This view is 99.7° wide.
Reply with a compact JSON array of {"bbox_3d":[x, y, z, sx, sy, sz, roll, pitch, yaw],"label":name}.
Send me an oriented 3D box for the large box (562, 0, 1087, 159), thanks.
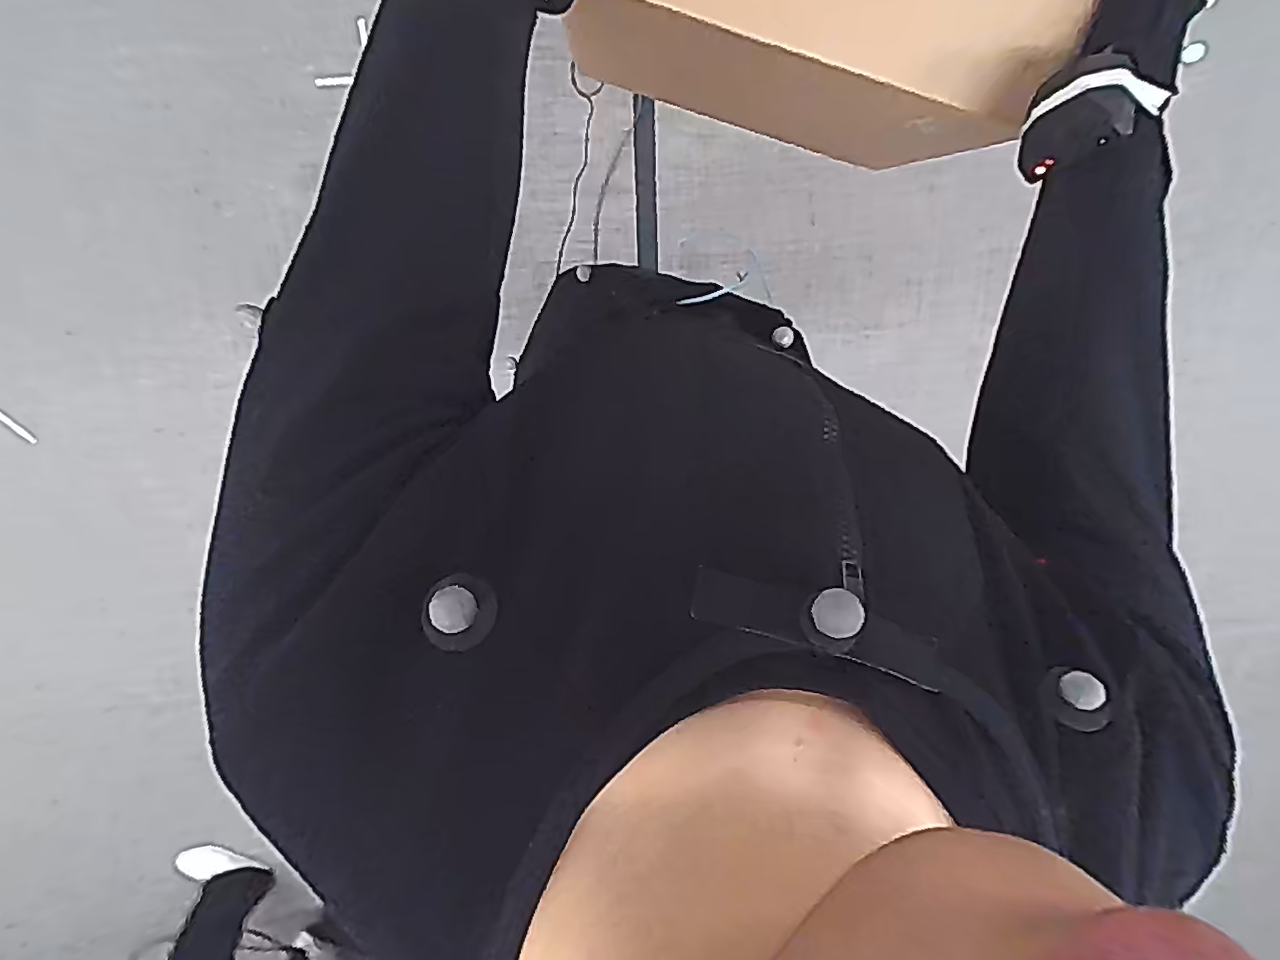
[{"bbox_3d":[0.155,-0.527,0.487,0.408,0.320,0.320,12,115,-8],"label":"large box"}]
